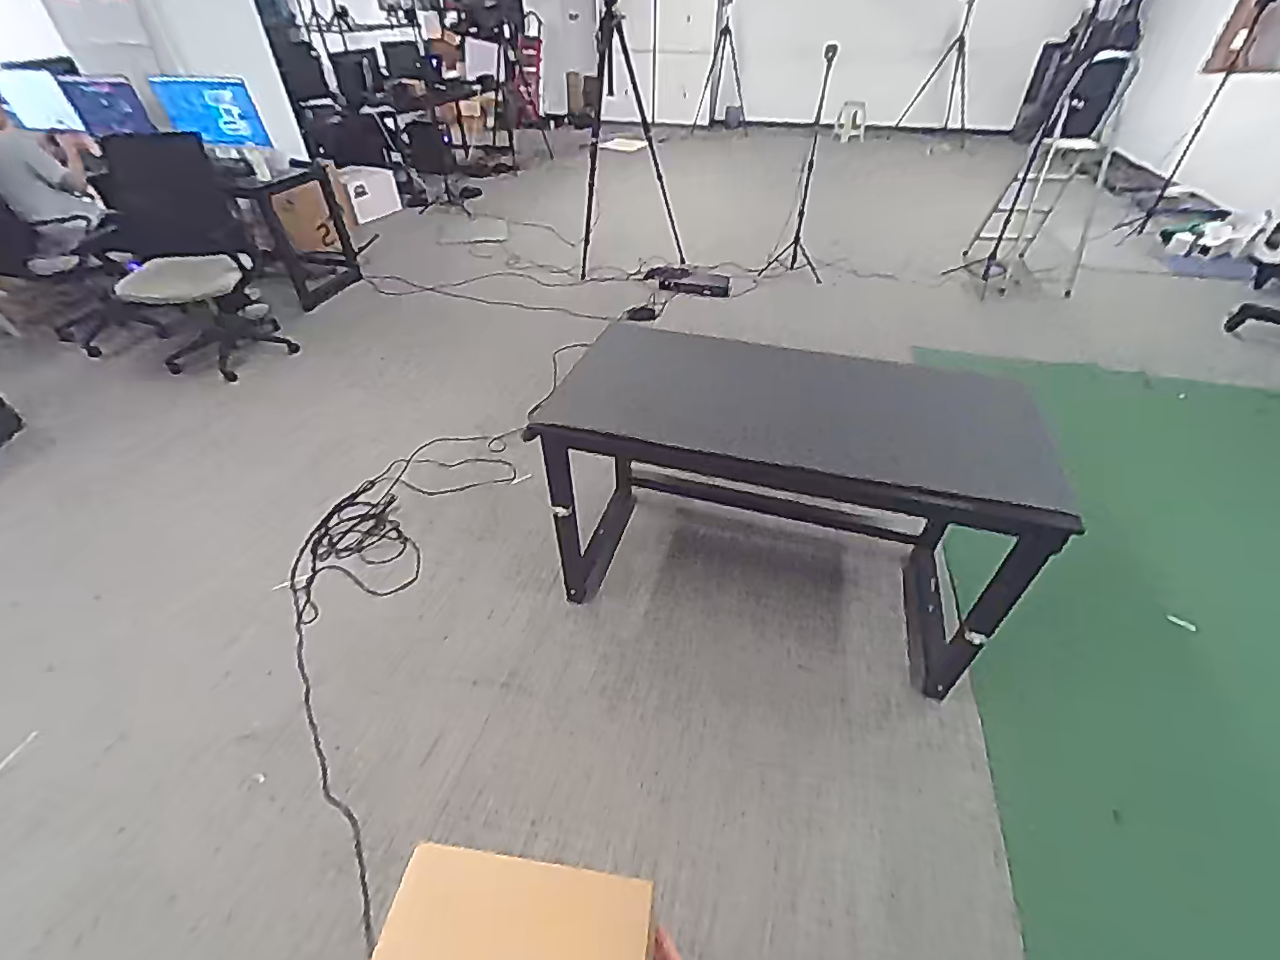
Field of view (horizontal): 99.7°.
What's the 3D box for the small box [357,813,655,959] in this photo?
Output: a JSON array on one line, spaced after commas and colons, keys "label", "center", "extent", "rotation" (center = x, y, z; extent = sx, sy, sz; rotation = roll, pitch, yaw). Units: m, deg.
[{"label": "small box", "center": [-0.083, 0.351, 0.347], "extent": [0.168, 0.176, 0.179], "rotation": [4, 41, 8]}]
